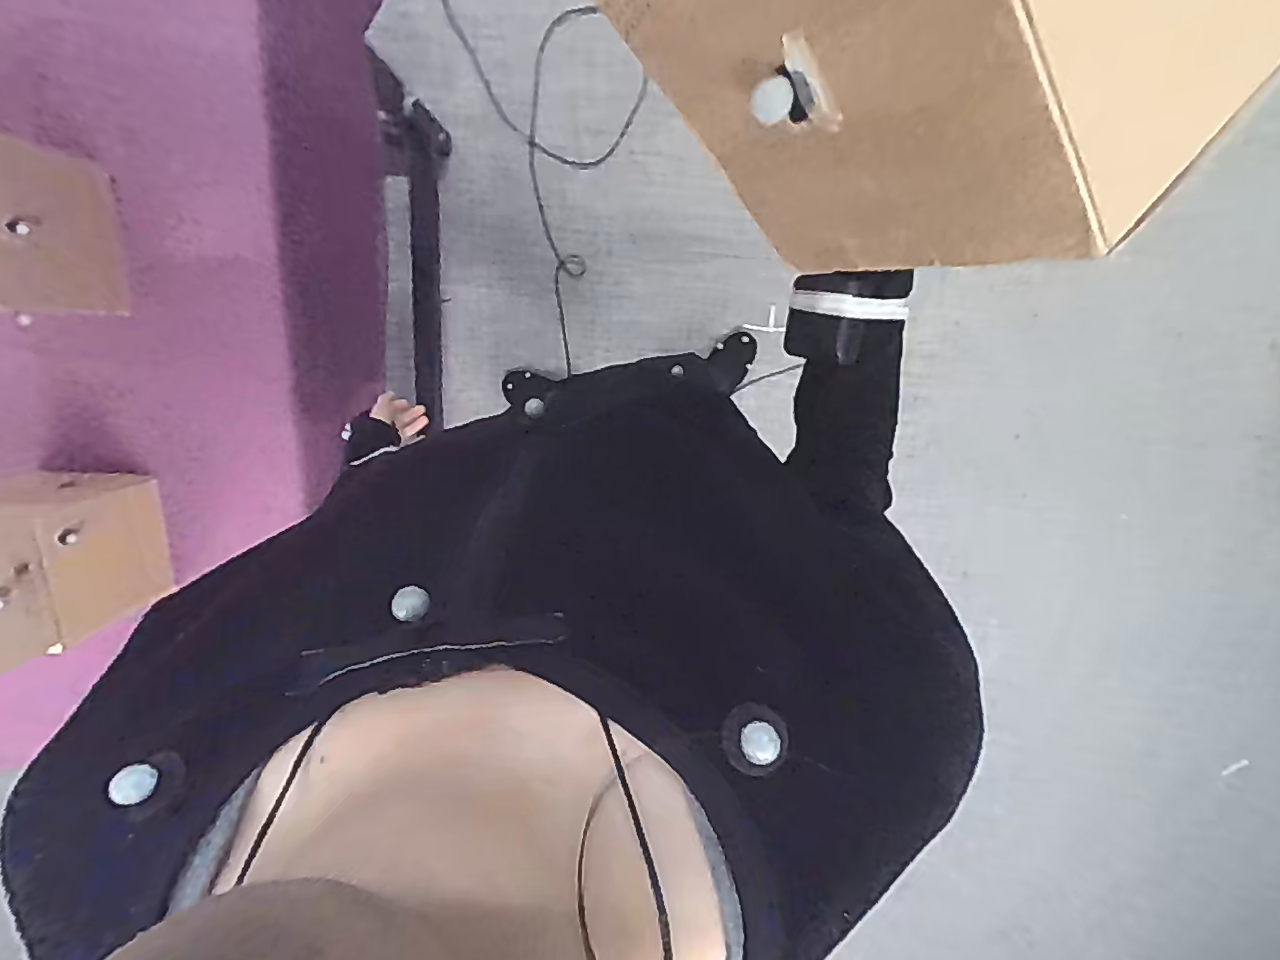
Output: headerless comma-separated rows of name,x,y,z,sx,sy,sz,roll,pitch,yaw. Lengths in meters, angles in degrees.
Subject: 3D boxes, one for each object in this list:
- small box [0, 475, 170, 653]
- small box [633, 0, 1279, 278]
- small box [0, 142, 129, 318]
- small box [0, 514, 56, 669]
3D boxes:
small box,-0.762,0.100,0.700,0.168,0.176,0.179,2,103,-1
small box,0.121,-0.202,0.194,0.179,0.168,0.176,-47,117,0
small box,-0.731,-0.279,0.605,0.168,0.176,0.179,4,103,-2
small box,-0.765,0.132,0.538,0.179,0.176,0.168,2,104,0
